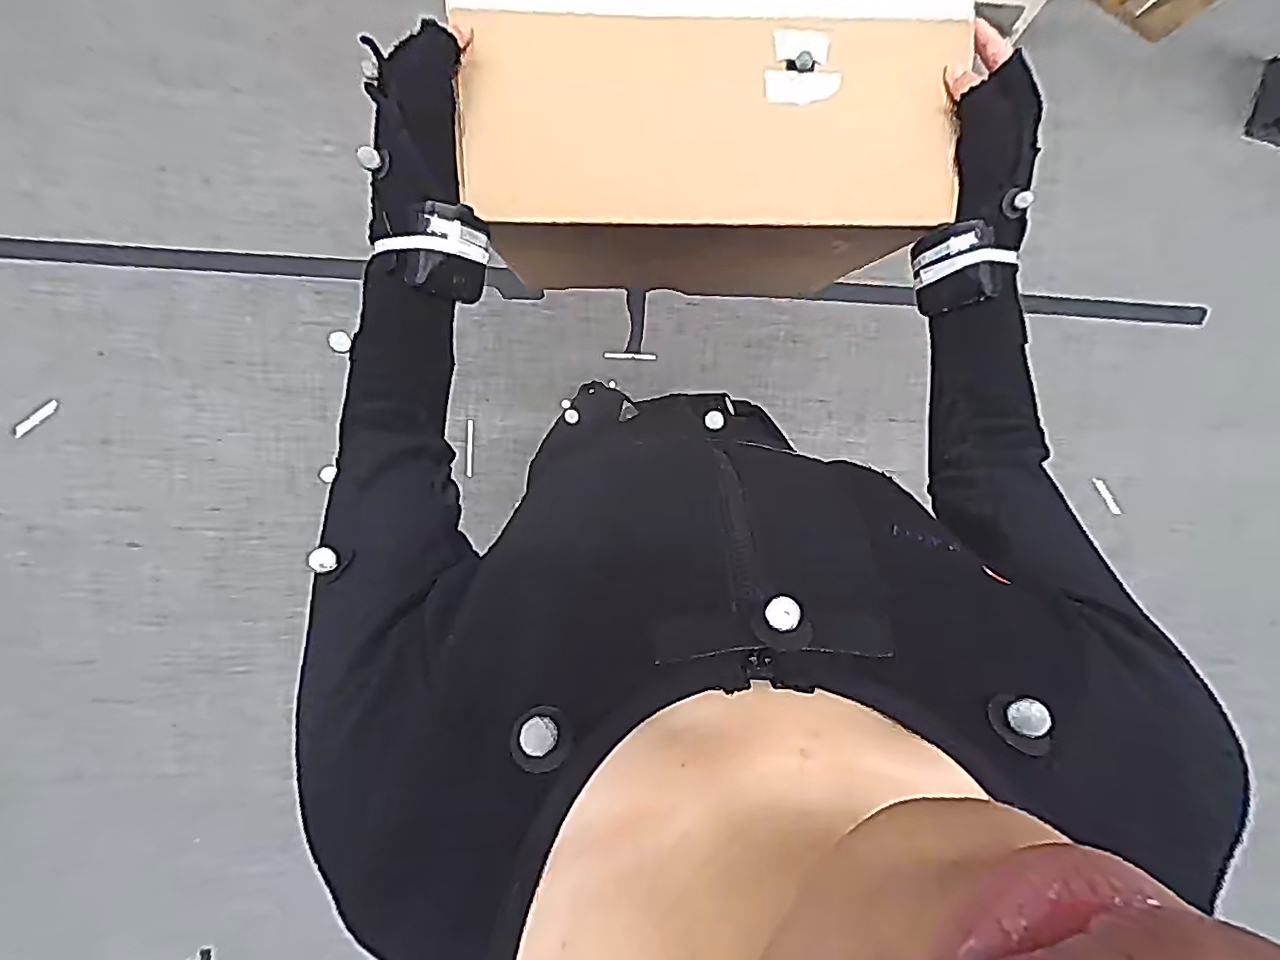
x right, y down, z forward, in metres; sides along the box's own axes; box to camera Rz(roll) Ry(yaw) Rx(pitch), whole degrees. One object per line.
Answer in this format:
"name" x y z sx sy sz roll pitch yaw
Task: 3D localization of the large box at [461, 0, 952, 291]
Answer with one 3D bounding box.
"large box" 0.046 -0.393 0.580 0.408 0.320 0.320 -1 100 -3
